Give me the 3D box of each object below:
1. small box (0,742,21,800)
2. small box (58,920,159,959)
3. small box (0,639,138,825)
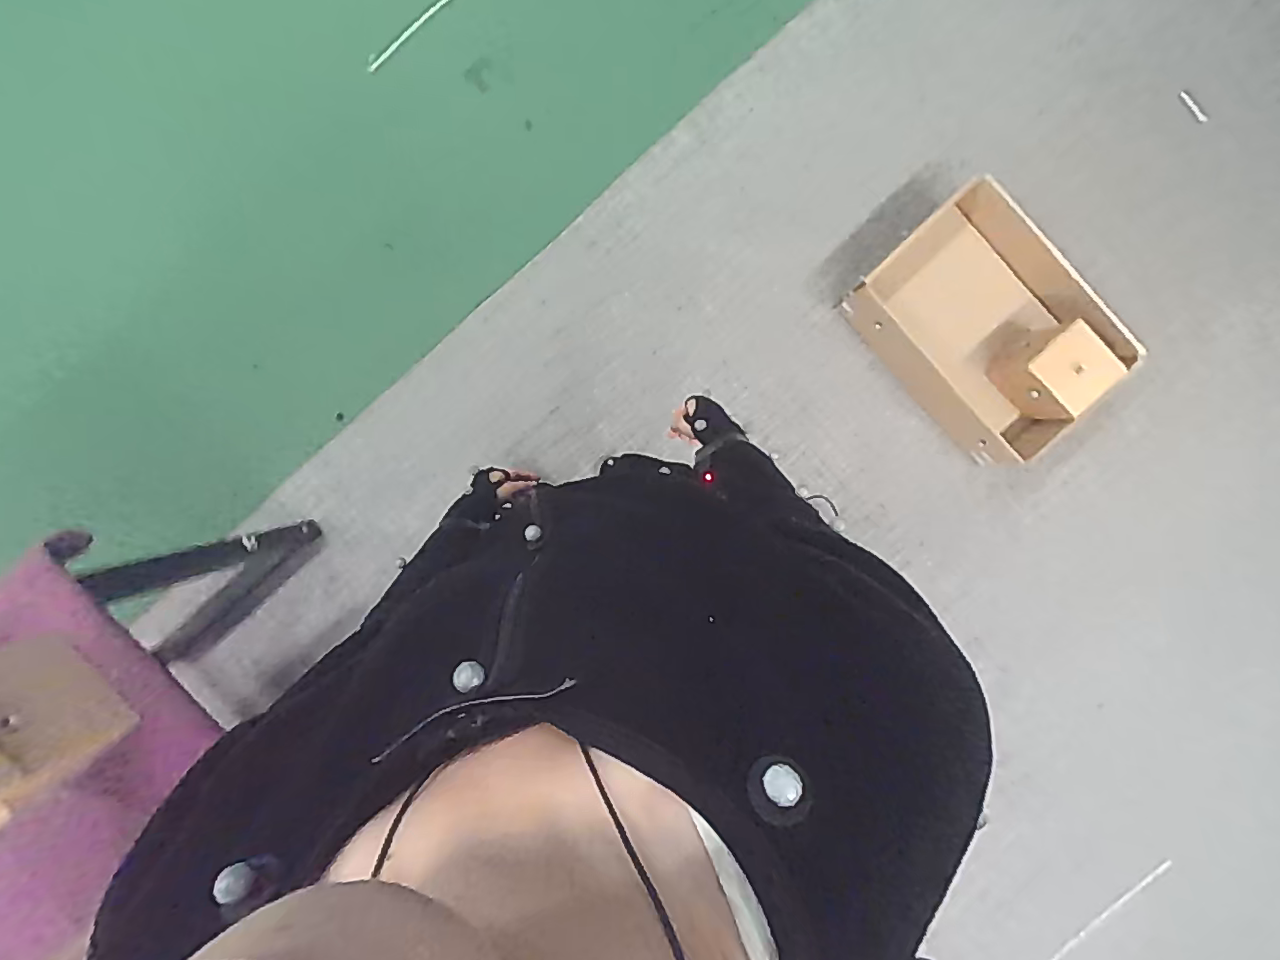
[{"bbox_3d":[-0.837,0.347,0.559,0.179,0.176,0.168,-40,94,3],"label":"small box"},{"bbox_3d":[-0.641,0.639,0.580,0.179,0.176,0.168,-37,93,2],"label":"small box"},{"bbox_3d":[-0.852,0.346,0.724,0.168,0.176,0.179,-42,93,2],"label":"small box"}]
